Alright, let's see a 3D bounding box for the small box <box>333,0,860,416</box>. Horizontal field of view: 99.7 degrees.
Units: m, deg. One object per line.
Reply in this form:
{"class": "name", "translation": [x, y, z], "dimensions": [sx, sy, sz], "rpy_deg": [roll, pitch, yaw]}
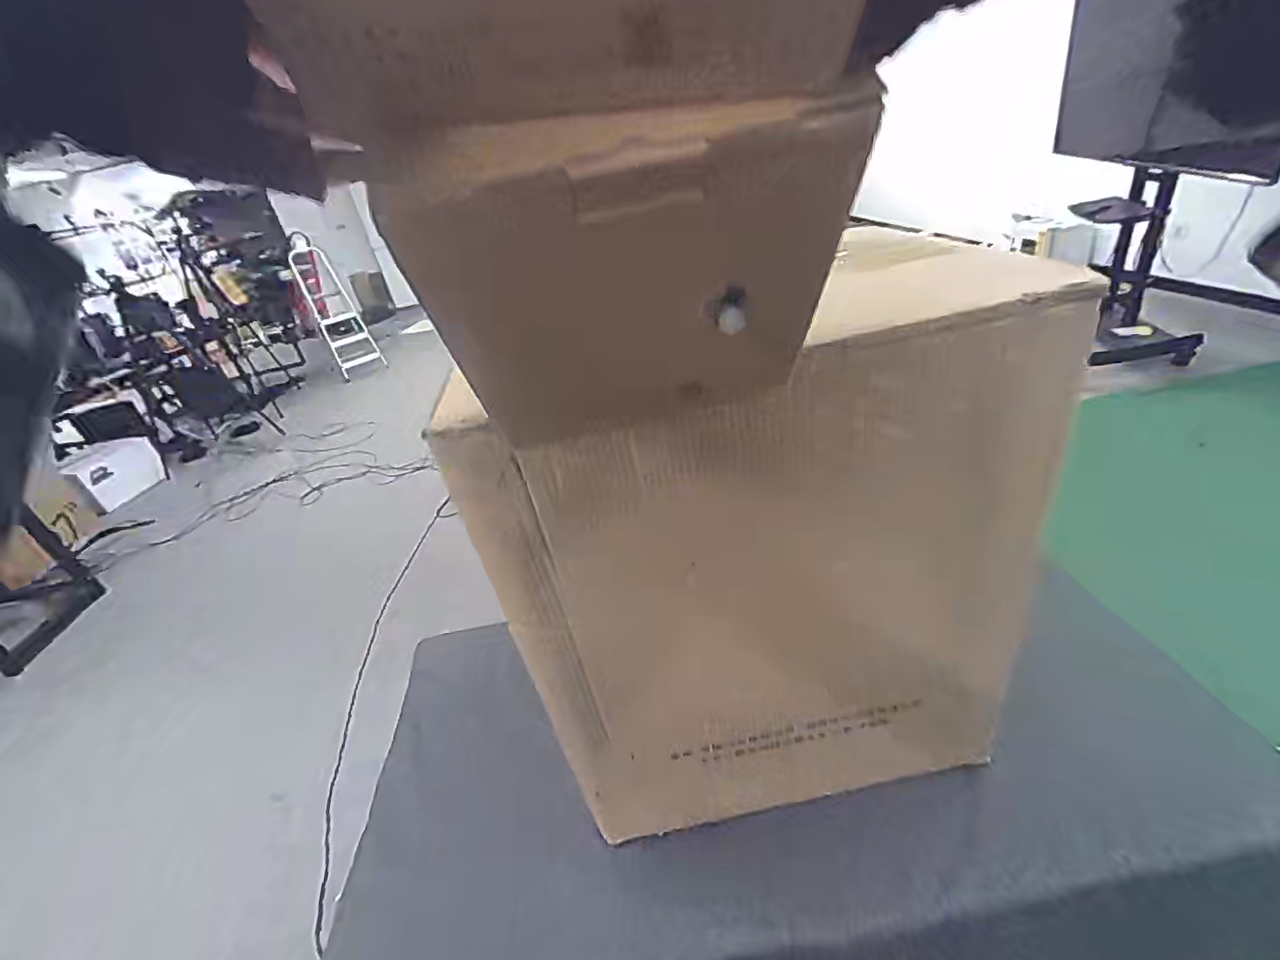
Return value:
{"class": "small box", "translation": [-0.026, -0.149, 0.267], "dimensions": [0.168, 0.176, 0.179], "rpy_deg": [-17, 69, -3]}
